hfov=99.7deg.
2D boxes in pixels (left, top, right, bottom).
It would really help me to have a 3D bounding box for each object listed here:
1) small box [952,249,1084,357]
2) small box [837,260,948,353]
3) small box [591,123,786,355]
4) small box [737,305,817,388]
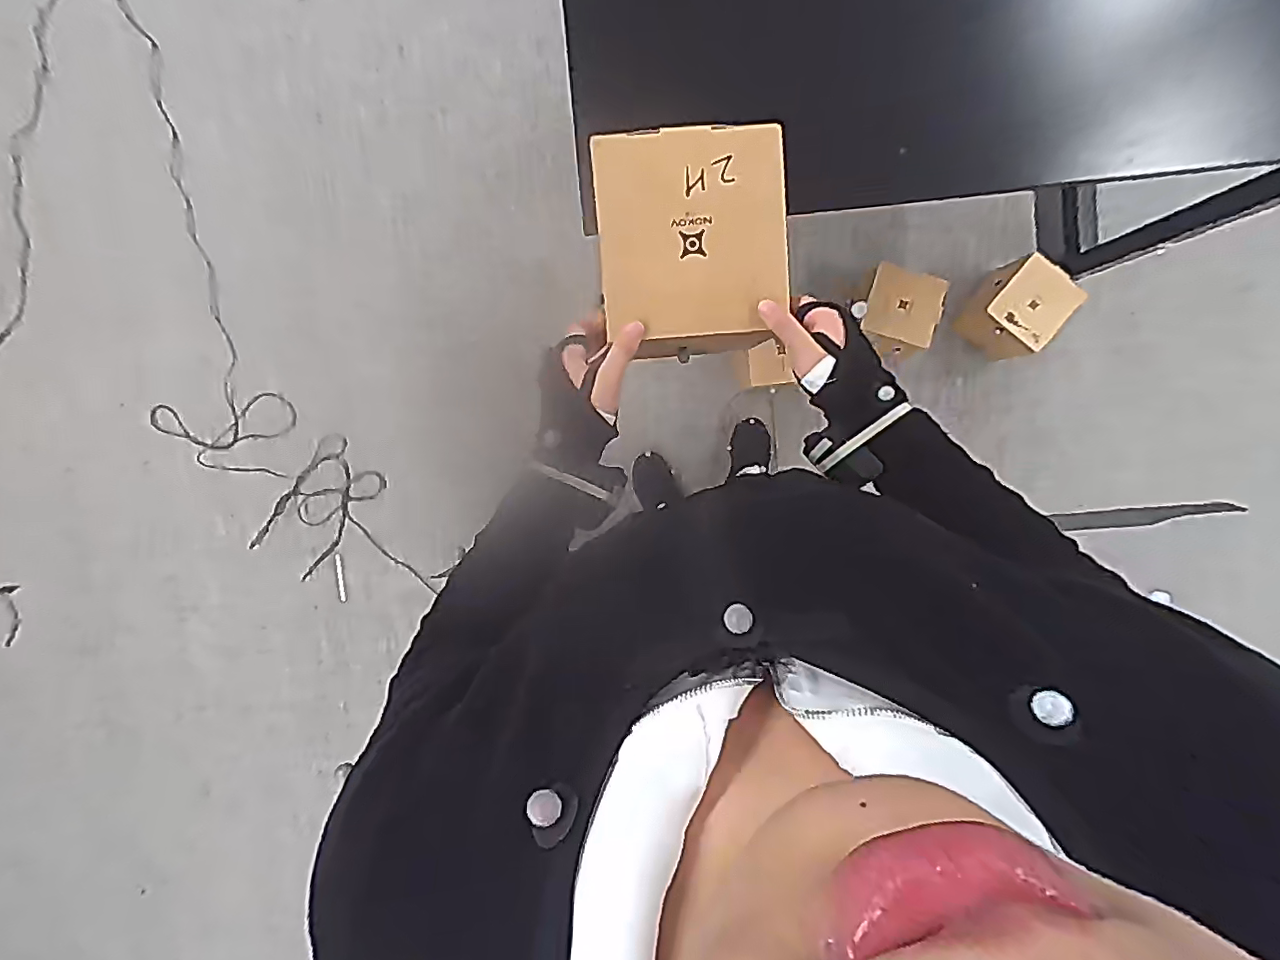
[{"bbox_3d":[0.929,-0.432,1.350,0.168,0.176,0.179,38,95,-1],"label":"small box"},{"bbox_3d":[0.626,-0.427,1.363,0.179,0.176,0.168,16,95,1],"label":"small box"},{"bbox_3d":[0.043,-0.224,0.551,0.168,0.176,0.179,-5,96,-1],"label":"small box"},{"bbox_3d":[0.340,-0.334,1.380,0.168,0.176,0.179,-6,96,3],"label":"small box"}]
